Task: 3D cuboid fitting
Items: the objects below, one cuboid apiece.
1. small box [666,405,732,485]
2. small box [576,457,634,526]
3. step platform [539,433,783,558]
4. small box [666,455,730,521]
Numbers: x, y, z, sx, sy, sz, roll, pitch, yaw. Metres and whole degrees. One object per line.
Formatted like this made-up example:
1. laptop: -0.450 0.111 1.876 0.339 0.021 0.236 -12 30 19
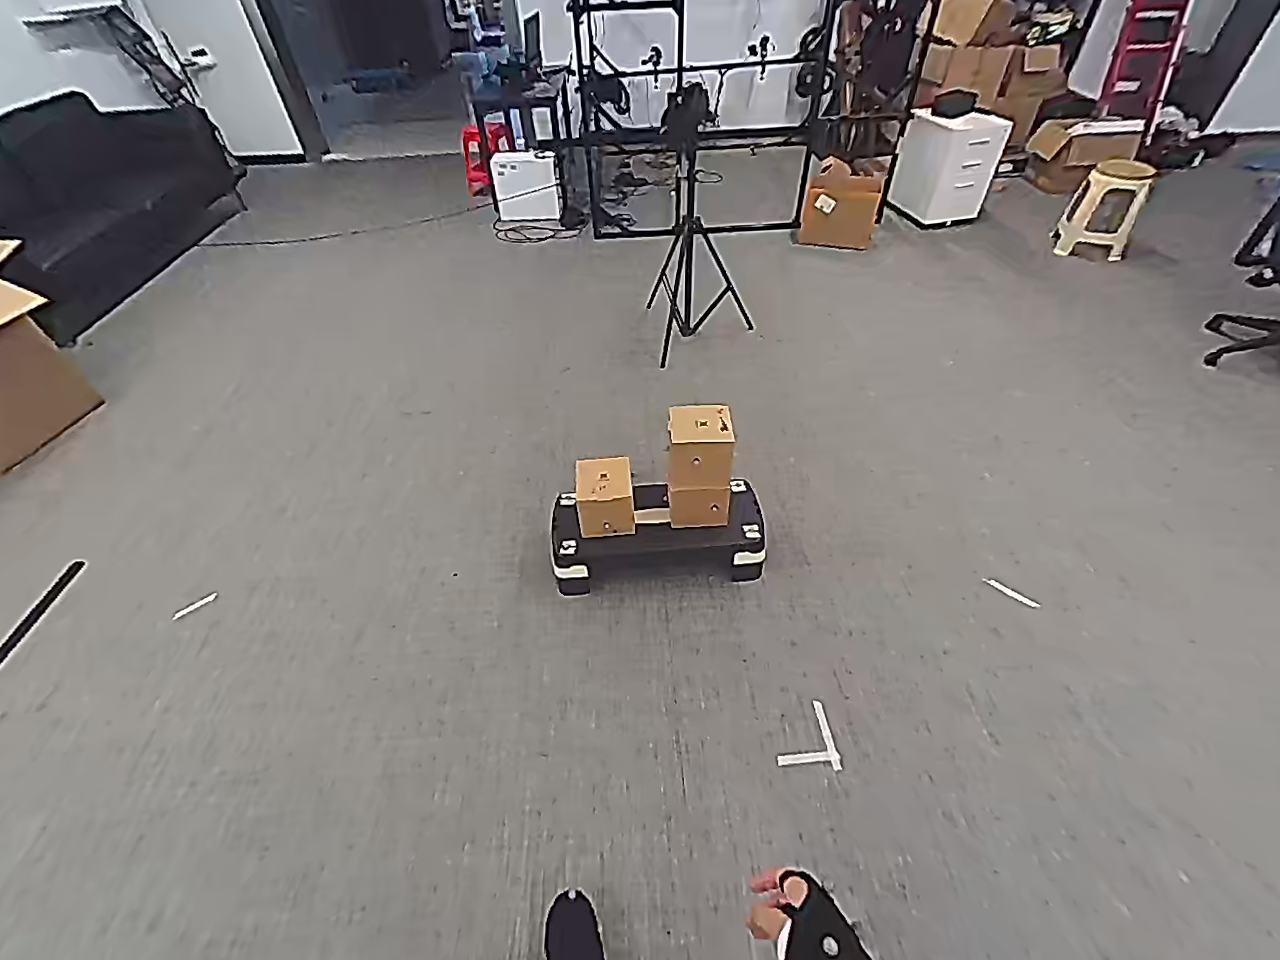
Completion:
1. small box: 0.169 -0.099 1.567 0.179 0.176 0.168 -3 45 2
2. small box: -0.107 0.051 1.659 0.168 0.176 0.179 -5 45 -2
3. step platform: 0.059 0.047 1.605 0.684 0.204 0.286 -4 45 -2
4. small box: 0.173 0.030 1.668 0.179 0.176 0.168 -4 44 -1
